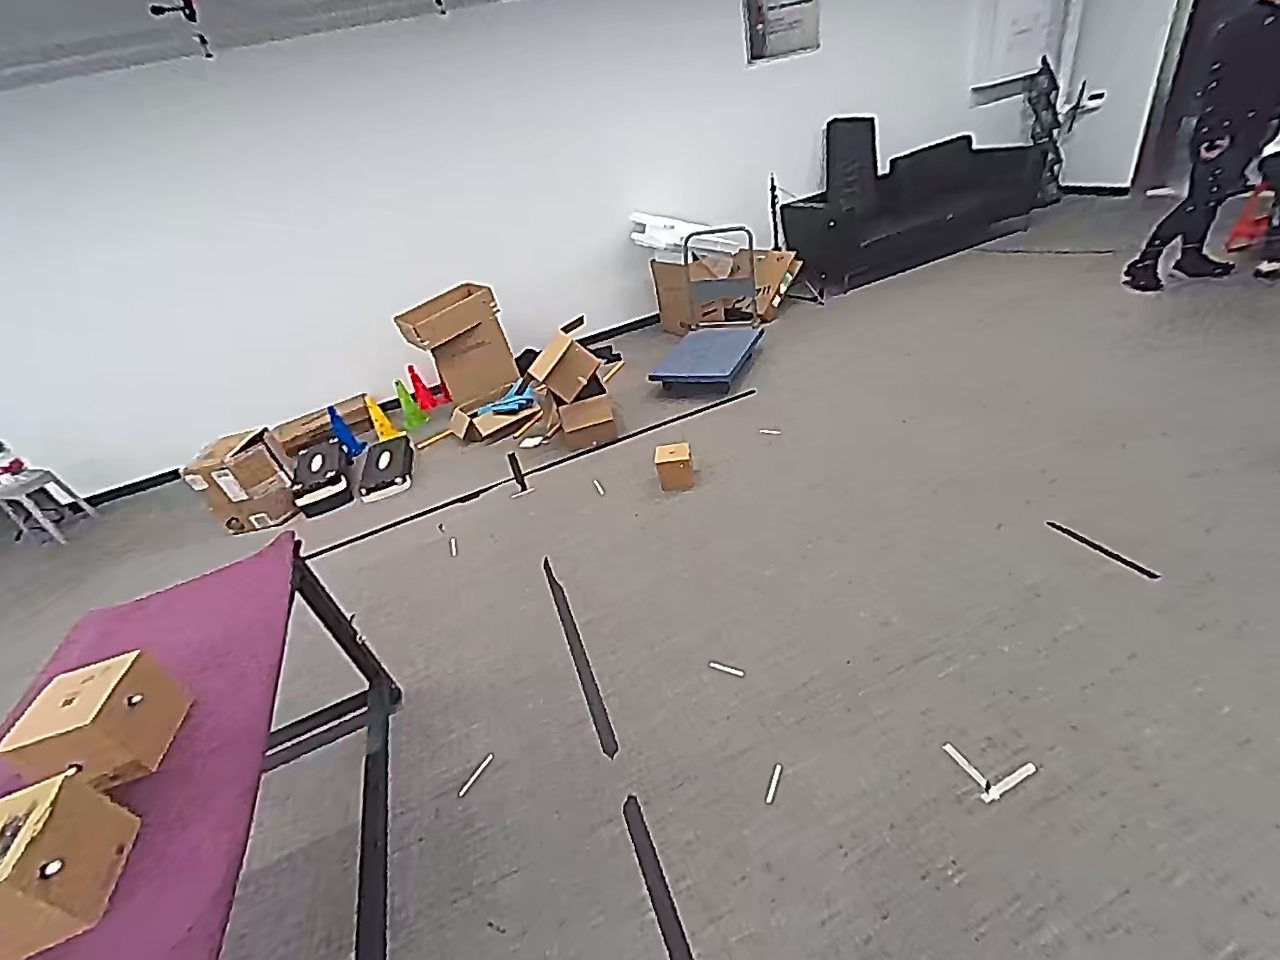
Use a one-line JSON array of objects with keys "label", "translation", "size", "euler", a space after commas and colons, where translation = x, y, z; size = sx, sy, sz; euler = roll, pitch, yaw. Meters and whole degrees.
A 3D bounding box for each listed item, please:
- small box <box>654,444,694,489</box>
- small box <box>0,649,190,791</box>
[{"label": "small box", "translation": [0.178, -0.065, 2.796], "size": [0.179, 0.176, 0.168], "euler": [-7, 32, 9]}, {"label": "small box", "translation": [-1.034, 0.469, 1.047], "size": [0.168, 0.176, 0.179], "euler": [-17, 32, -6]}]
